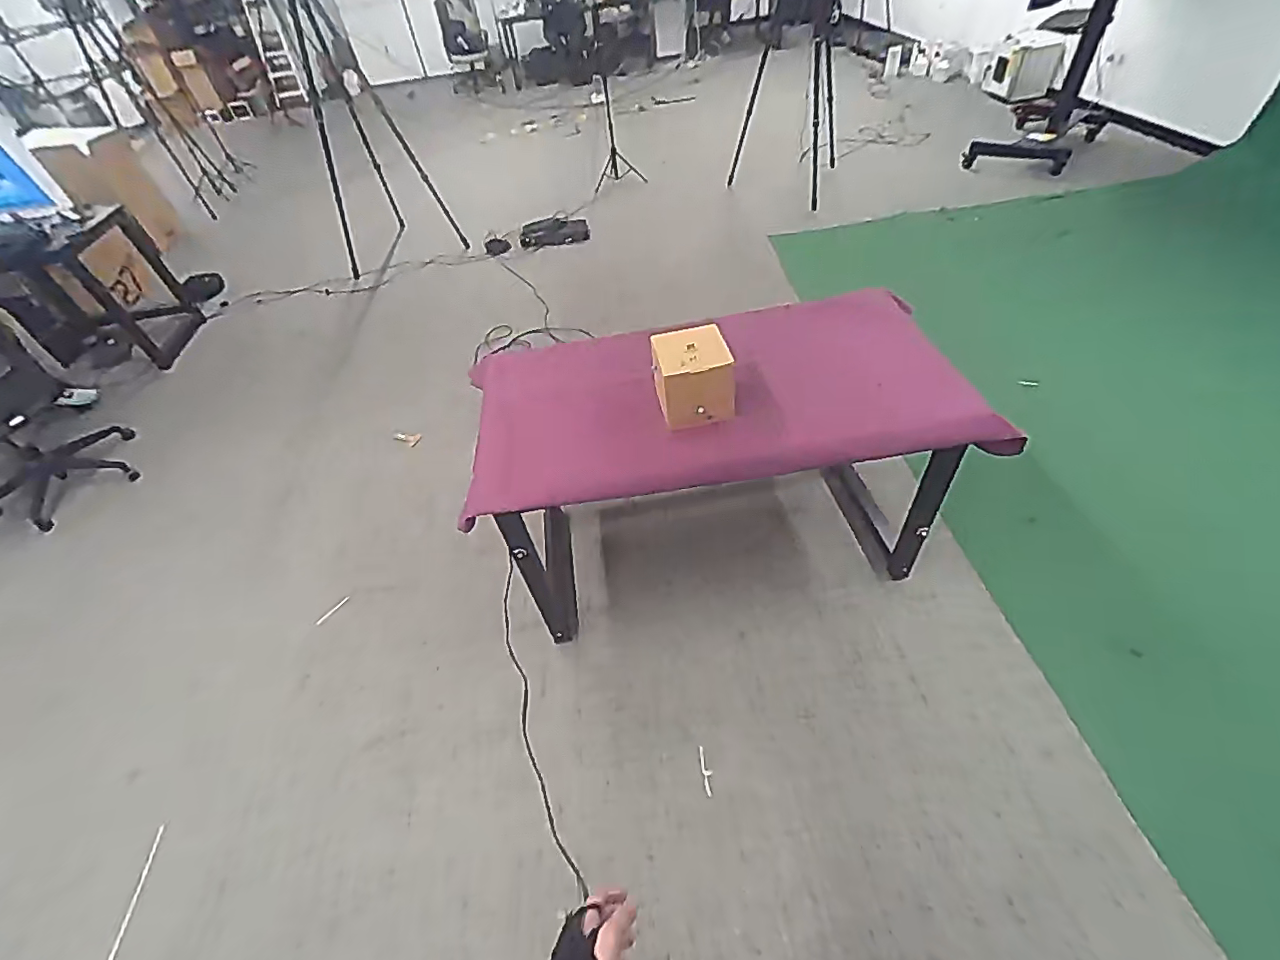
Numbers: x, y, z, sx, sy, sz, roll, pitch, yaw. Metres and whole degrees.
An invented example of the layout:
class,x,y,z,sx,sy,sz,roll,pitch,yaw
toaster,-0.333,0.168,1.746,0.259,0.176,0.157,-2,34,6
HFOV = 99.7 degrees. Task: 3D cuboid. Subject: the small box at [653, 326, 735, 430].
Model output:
class,x,y,z,sx,sy,sz,roll,pitch,yaw
small box,0.129,-0.249,1.322,0.168,0.176,0.179,-11,47,-1
